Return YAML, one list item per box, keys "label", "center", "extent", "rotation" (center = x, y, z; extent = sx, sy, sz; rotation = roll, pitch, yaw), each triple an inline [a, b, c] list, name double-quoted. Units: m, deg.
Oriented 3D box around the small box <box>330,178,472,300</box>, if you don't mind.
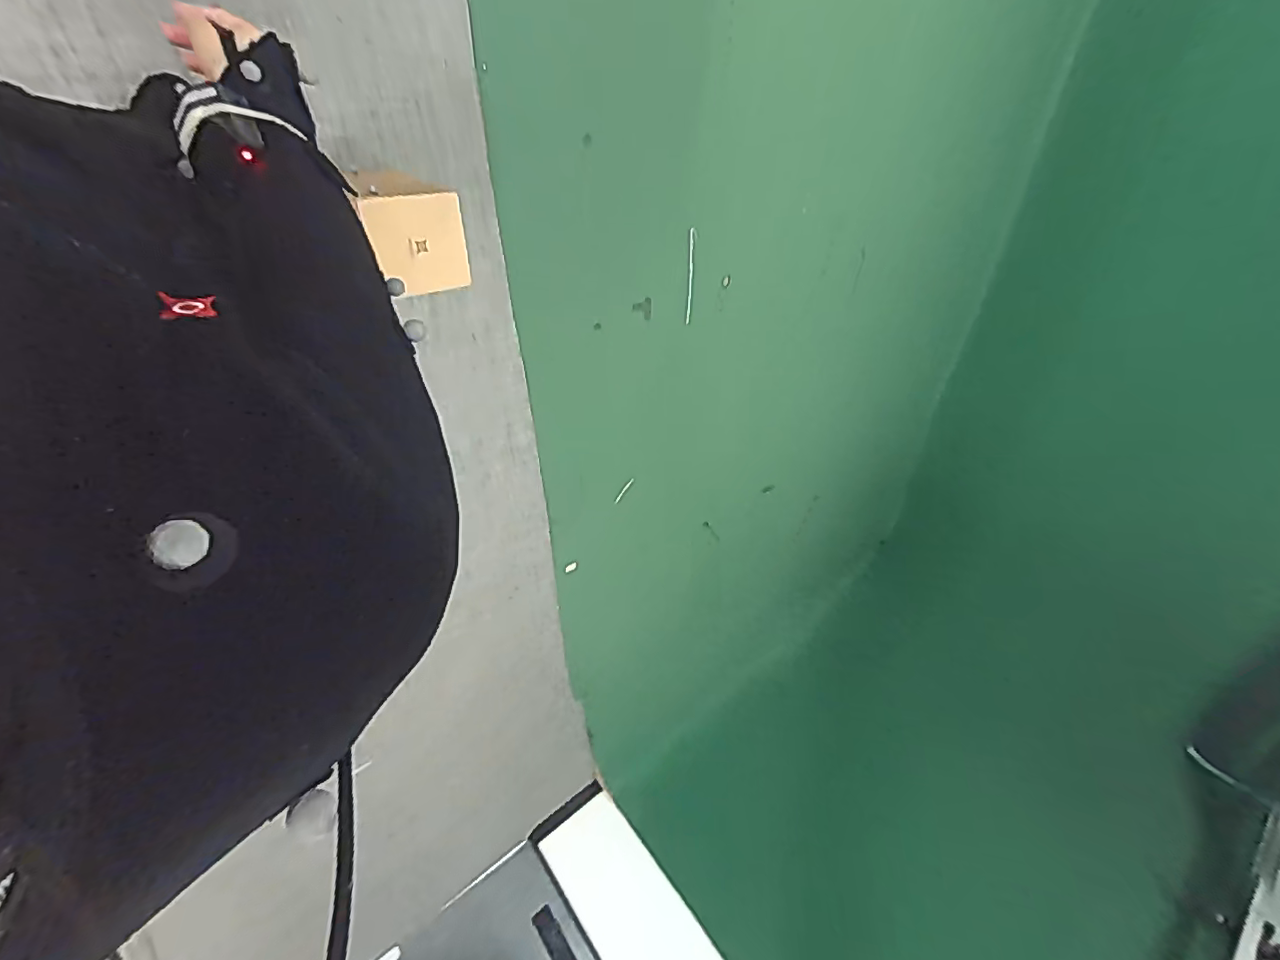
- label: "small box"
  center: [-0.440, -0.453, 1.003]
  extent: [0.179, 0.176, 0.168]
  rotation: [-25, 134, -31]
